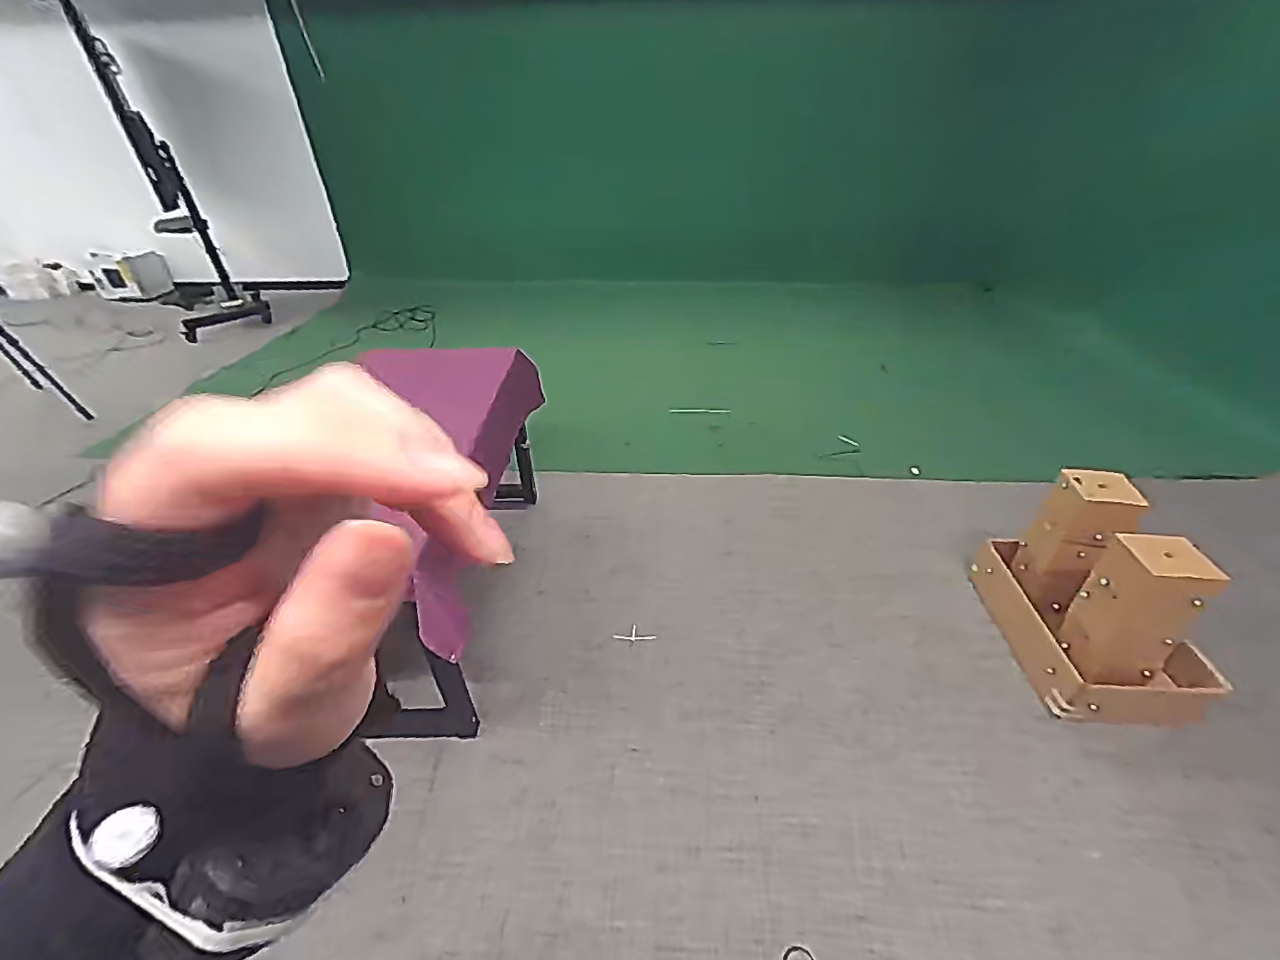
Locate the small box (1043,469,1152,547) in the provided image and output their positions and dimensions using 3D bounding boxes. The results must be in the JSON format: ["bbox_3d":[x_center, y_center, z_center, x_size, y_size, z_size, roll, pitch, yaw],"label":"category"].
[{"bbox_3d":[1.411,0.089,1.681,0.179,0.176,0.168,7,36,9],"label":"small box"}]

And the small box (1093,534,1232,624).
[{"bbox_3d":[1.378,0.266,1.443,0.179,0.176,0.168,3,35,6],"label":"small box"}]

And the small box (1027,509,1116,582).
[{"bbox_3d":[1.418,0.218,1.783,0.179,0.176,0.168,6,37,8],"label":"small box"}]
